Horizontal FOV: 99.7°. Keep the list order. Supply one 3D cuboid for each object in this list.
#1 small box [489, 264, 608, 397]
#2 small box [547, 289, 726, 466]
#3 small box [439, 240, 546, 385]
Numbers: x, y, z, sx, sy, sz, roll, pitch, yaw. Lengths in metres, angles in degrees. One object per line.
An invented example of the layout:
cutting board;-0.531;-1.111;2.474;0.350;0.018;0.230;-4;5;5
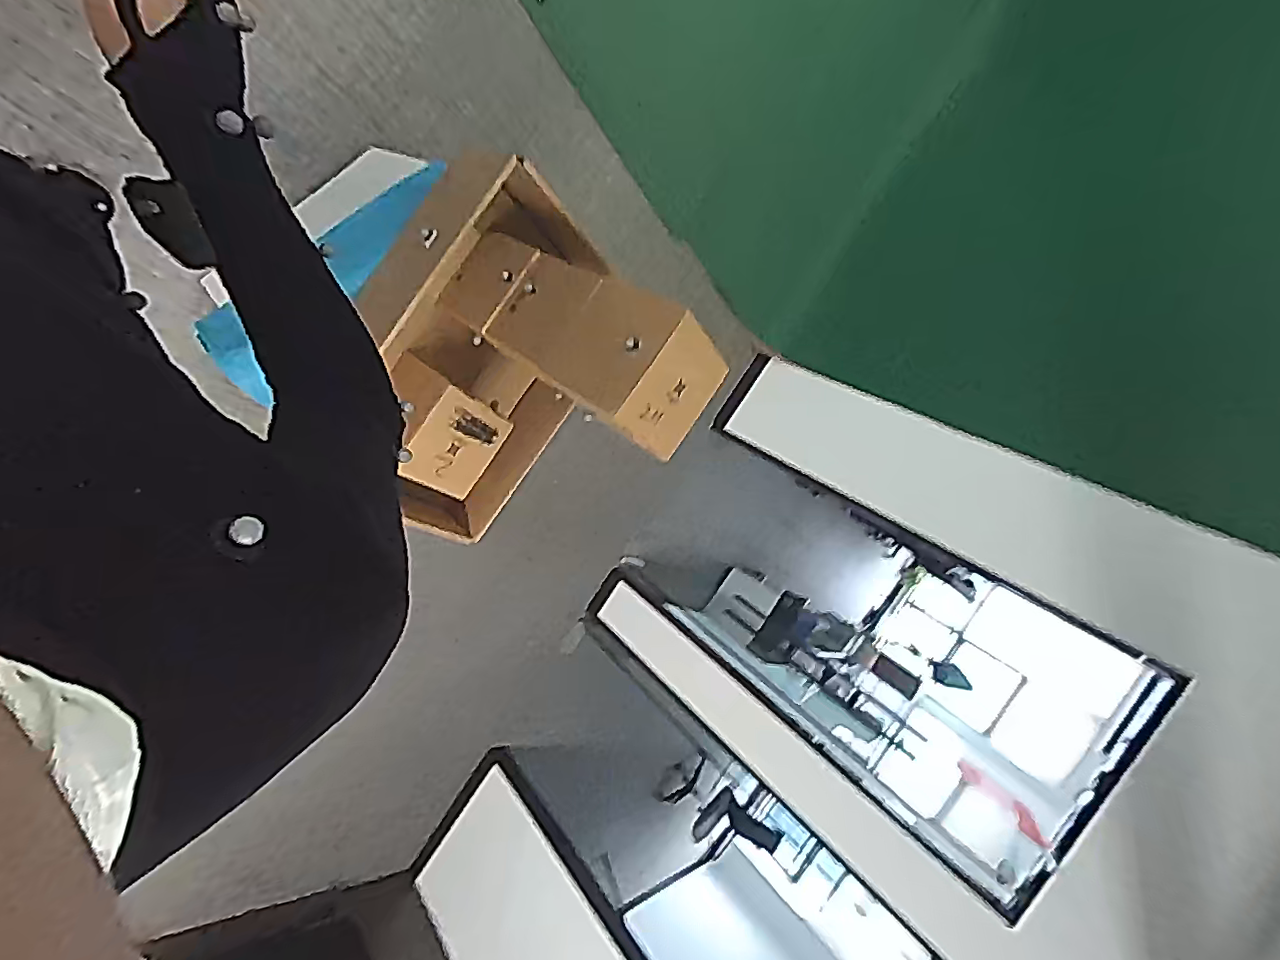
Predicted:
small box;-0.114;-0.232;0.908;0.168;0.176;0.179;-54;145;0
small box;-0.006;-0.156;0.810;0.179;0.176;0.168;-55;145;-1
small box;-0.227;-0.310;0.996;0.168;0.176;0.179;-55;146;0
